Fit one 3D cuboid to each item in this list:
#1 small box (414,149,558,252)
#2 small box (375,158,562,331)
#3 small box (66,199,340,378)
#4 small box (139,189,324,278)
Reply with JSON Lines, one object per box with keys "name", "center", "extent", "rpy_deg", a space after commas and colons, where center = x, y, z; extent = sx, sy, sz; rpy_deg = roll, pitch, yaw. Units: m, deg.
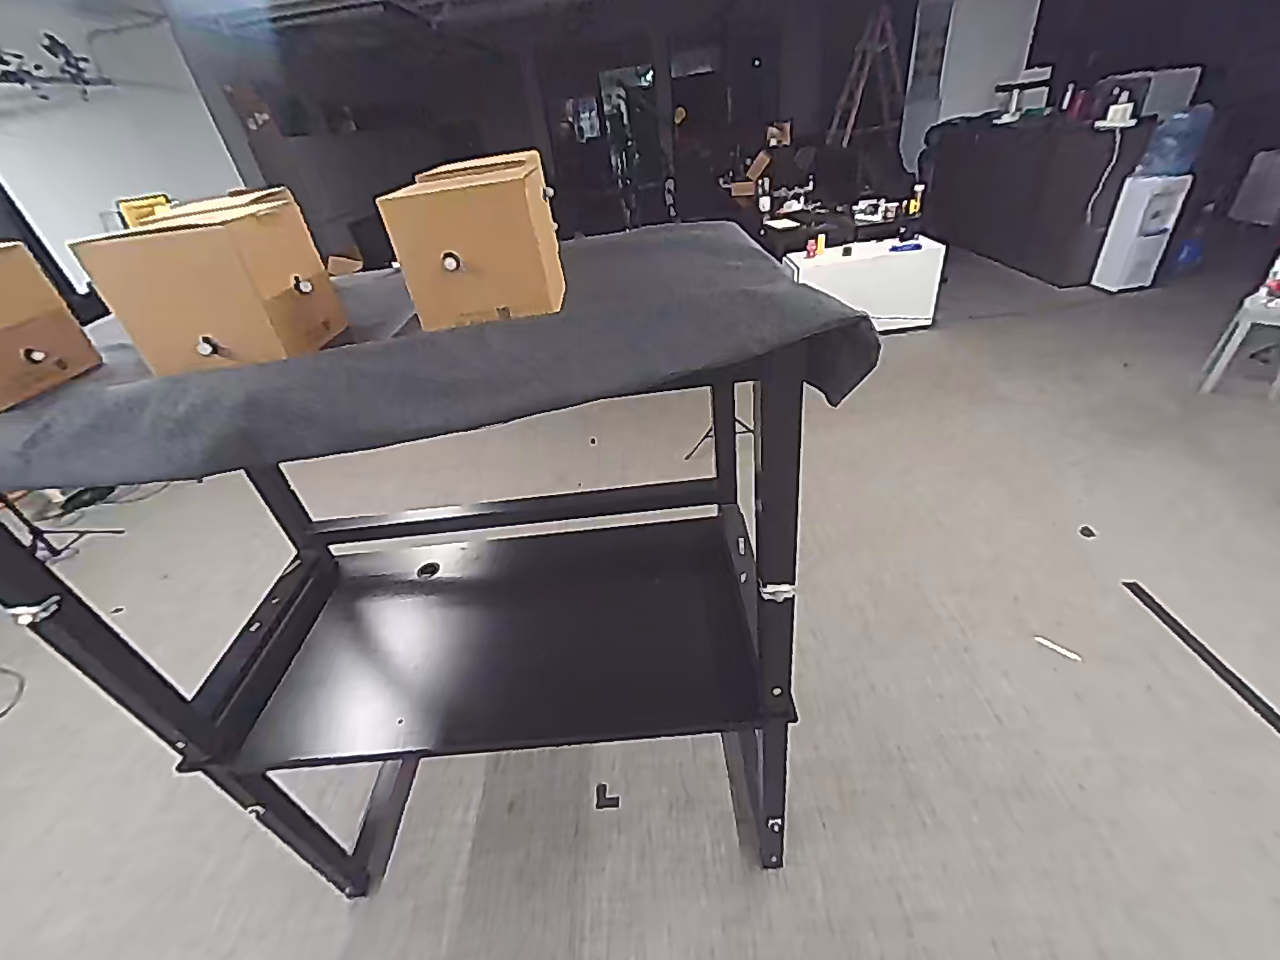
{"name": "small box", "center": [-0.251, -0.456, 0.929], "extent": [0.179, 0.176, 0.168], "rpy_deg": [-7, 35, 3]}
{"name": "small box", "center": [-0.200, -0.298, 0.692], "extent": [0.168, 0.176, 0.179], "rpy_deg": [-8, 33, 1]}
{"name": "small box", "center": [-0.519, -0.242, 0.681], "extent": [0.179, 0.176, 0.168], "rpy_deg": [-7, 33, 2]}
{"name": "small box", "center": [-0.680, -0.390, 0.932], "extent": [0.168, 0.176, 0.179], "rpy_deg": [-12, 35, -2]}
